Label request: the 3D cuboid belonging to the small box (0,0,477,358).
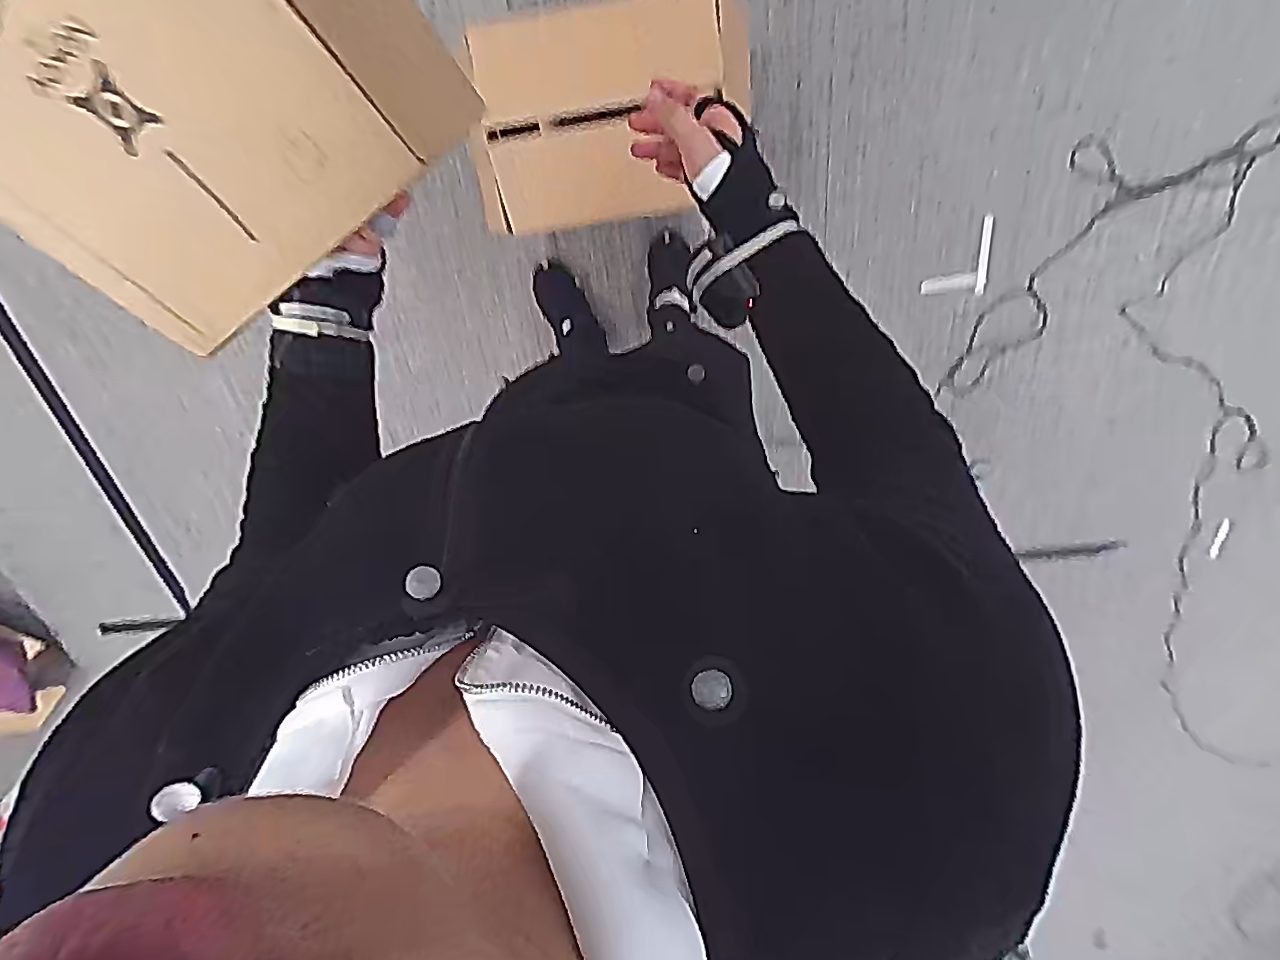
[{"bbox_3d":[-0.205,-0.200,0.256,0.168,0.176,0.179,-27,129,19],"label":"small box"}]
